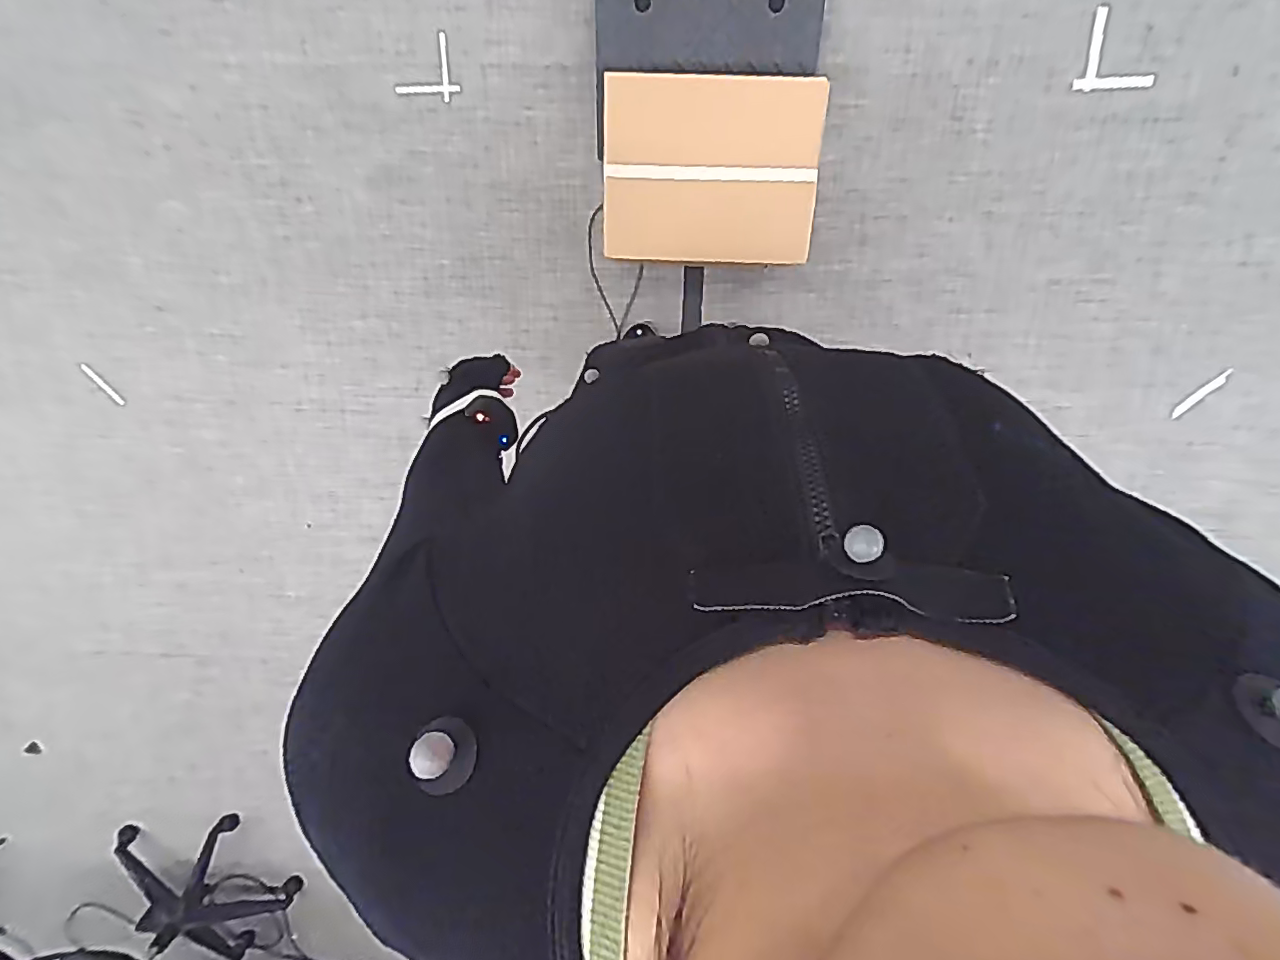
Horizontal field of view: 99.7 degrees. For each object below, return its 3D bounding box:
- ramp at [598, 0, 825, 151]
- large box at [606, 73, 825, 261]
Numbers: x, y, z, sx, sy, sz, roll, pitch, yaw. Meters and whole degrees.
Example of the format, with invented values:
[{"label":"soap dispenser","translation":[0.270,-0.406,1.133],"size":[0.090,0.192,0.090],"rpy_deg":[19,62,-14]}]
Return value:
[{"label":"ramp","translation":[0.155,-1.223,1.060],"size":[0.509,0.206,0.991],"rpy_deg":[0,107,1]},{"label":"large box","translation":[0.142,-0.643,1.166],"size":[0.408,0.320,0.320],"rpy_deg":[2,110,2]}]
